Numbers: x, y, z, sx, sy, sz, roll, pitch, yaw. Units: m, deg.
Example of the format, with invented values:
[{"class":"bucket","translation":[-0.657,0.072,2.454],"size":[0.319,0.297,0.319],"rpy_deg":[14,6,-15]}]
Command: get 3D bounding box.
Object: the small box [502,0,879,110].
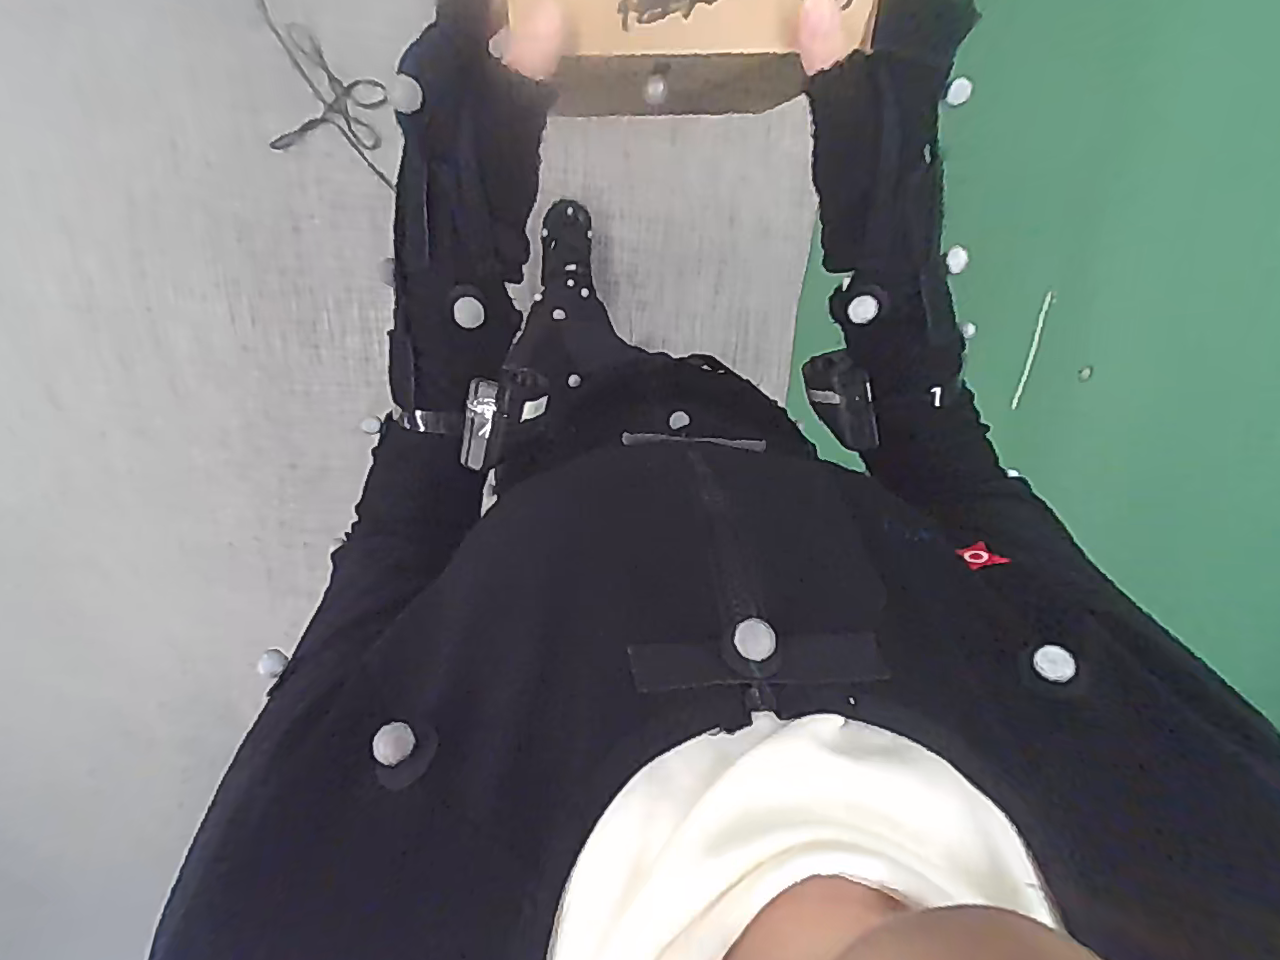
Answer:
[{"class":"small box","translation":[0.014,-0.306,0.269],"size":[0.168,0.176,0.179],"rpy_deg":[-3,116,-4]}]
